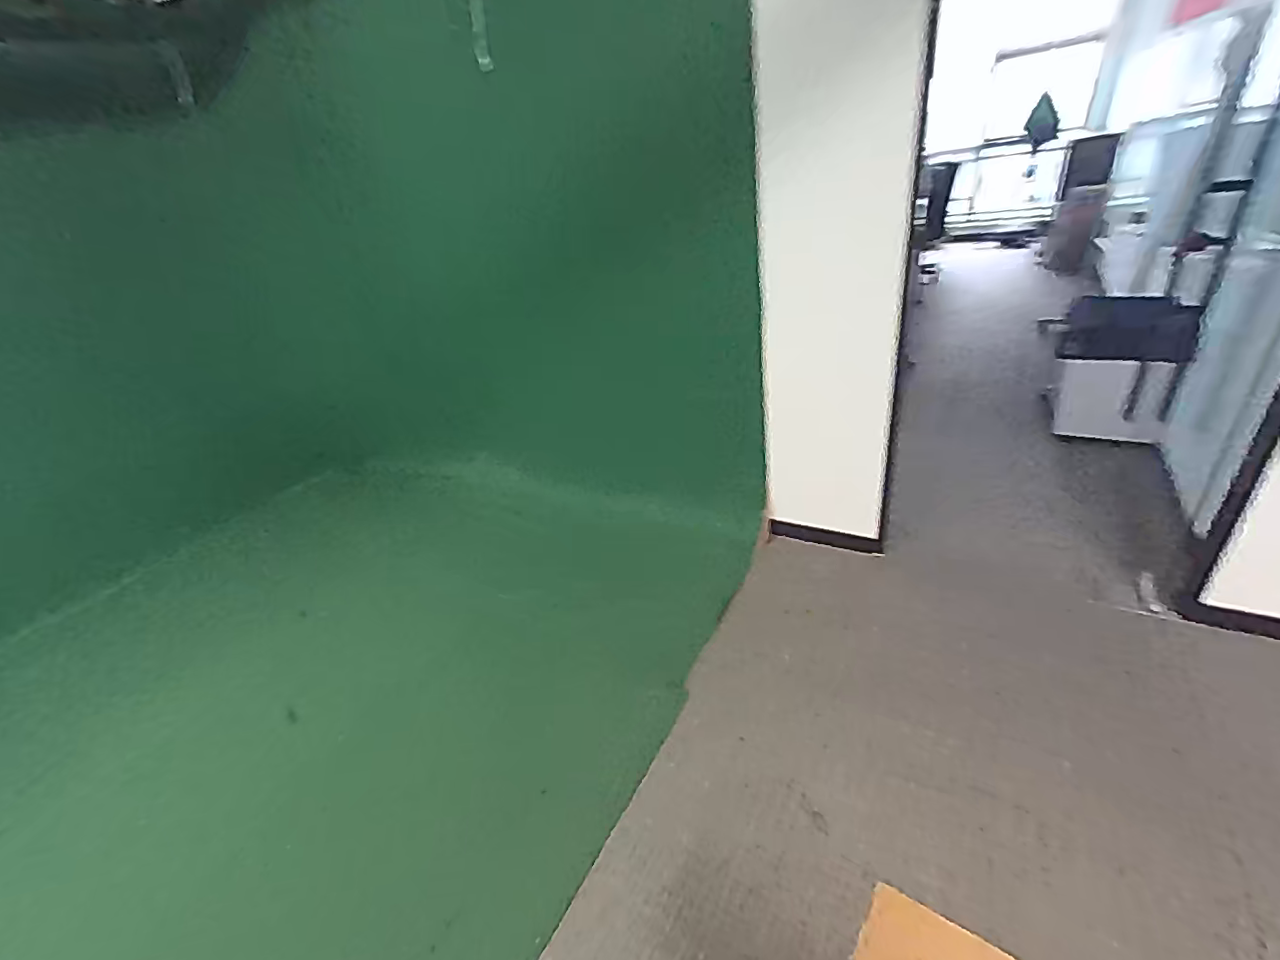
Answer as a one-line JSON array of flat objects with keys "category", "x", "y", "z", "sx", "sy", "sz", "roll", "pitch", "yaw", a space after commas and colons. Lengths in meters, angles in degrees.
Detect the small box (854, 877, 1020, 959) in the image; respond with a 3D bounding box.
[{"category": "small box", "x": 0.380, "y": 0.695, "z": 0.720, "sx": 0.179, "sy": 0.176, "sz": 0.168, "roll": 13, "pitch": 37, "yaw": 35}]
